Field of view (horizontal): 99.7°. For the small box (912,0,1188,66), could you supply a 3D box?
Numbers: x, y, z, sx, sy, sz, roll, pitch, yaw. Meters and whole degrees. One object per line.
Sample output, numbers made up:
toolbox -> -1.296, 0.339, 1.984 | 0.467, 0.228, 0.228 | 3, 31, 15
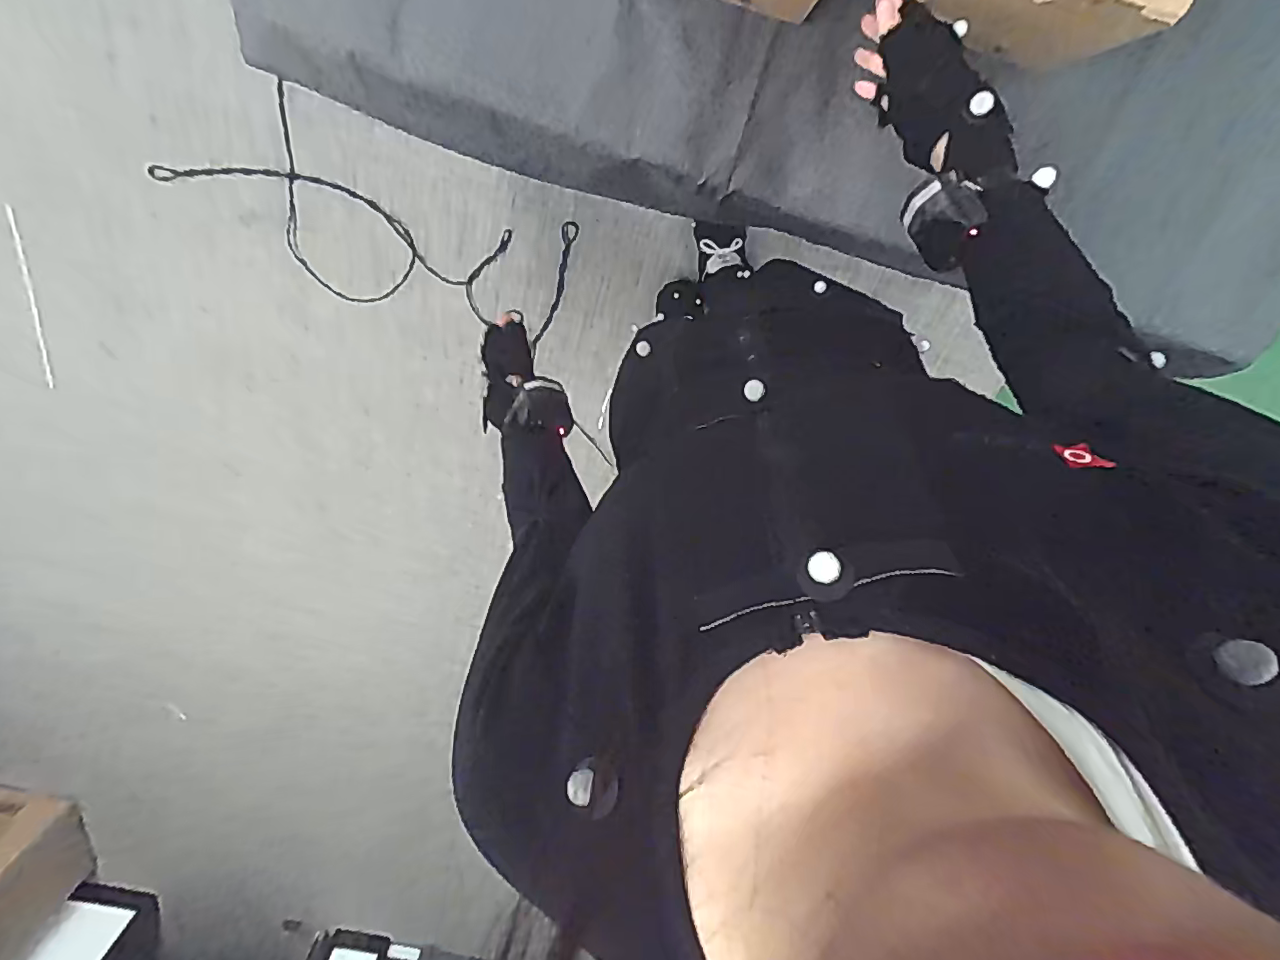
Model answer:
small box -> 0.350, -0.472, 0.435 | 0.168, 0.176, 0.179 | 14, 116, -5
